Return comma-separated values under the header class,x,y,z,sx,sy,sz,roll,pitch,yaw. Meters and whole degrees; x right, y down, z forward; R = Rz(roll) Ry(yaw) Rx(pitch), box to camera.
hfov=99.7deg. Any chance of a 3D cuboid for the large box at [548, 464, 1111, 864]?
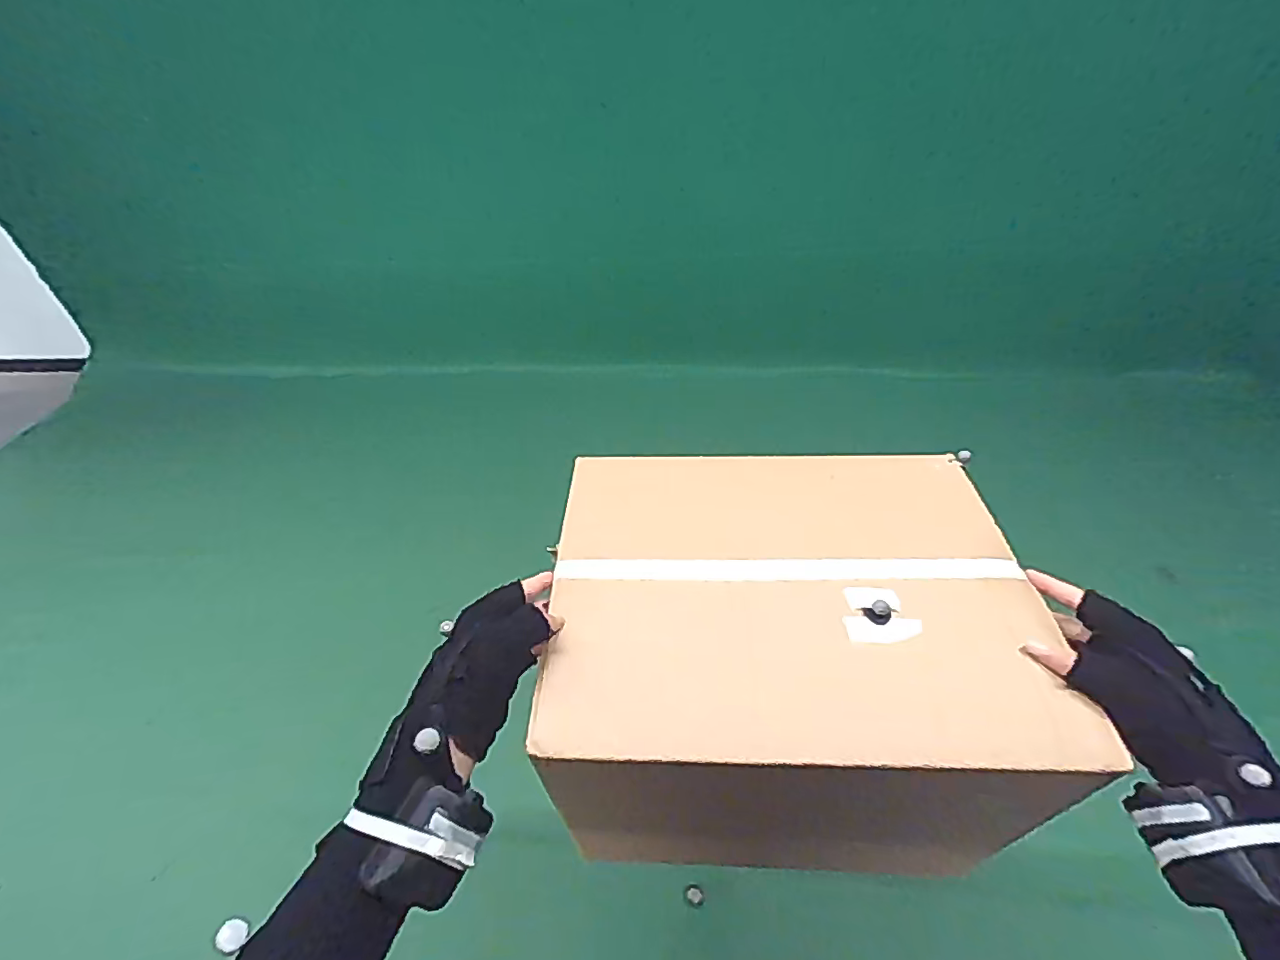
class,x,y,z,sx,sy,sz,roll,pitch,yaw
large box,0.137,0.196,0.588,0.408,0.320,0.320,0,44,3
